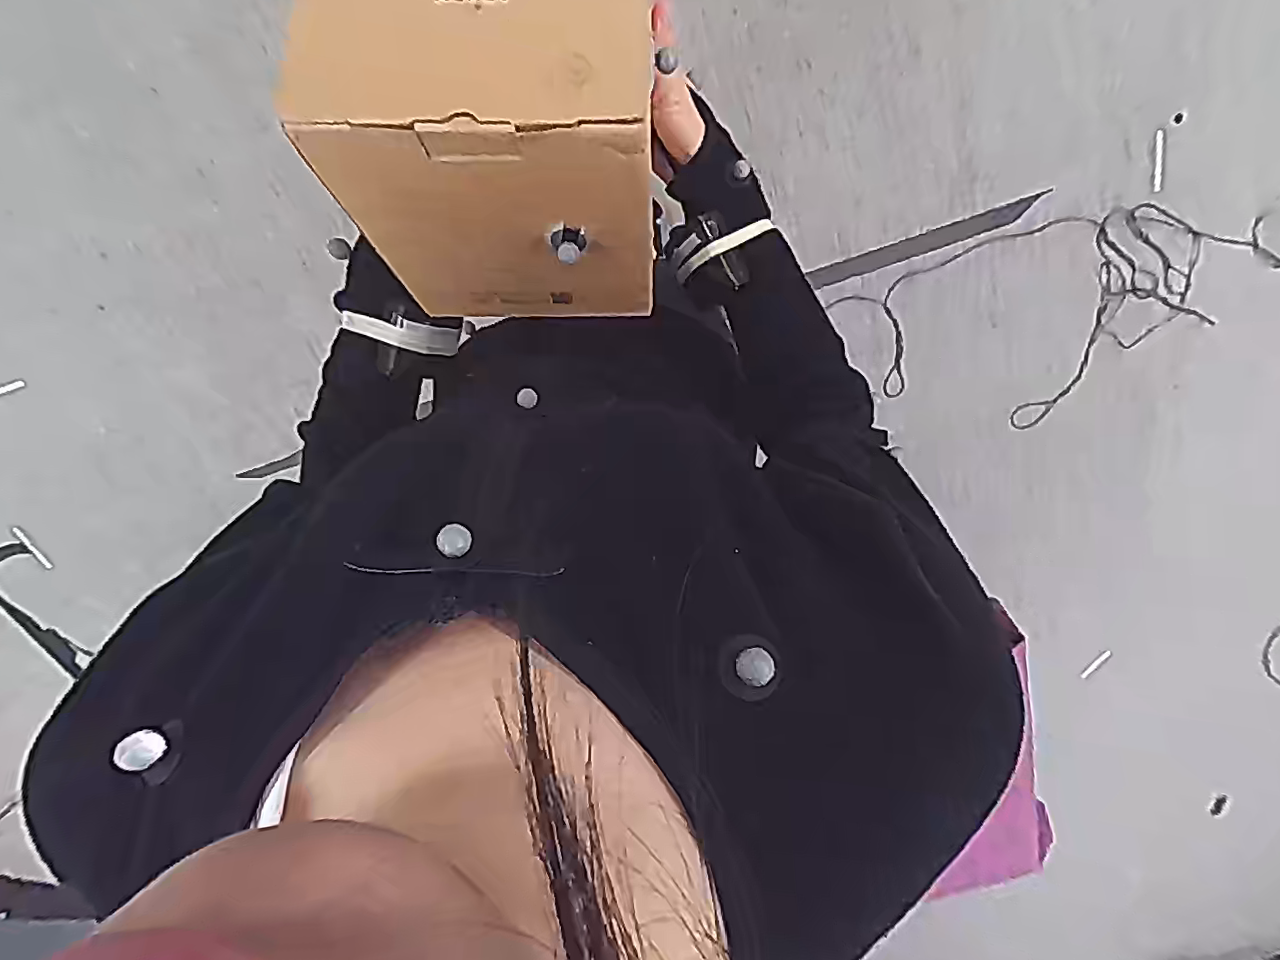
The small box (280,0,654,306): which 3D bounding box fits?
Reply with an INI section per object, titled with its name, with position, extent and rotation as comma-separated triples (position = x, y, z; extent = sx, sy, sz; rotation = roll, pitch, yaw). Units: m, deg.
[small box]
position = -0.075, -0.223, 0.330
extent = 0.168, 0.176, 0.179
rotation = 0, 77, 0
